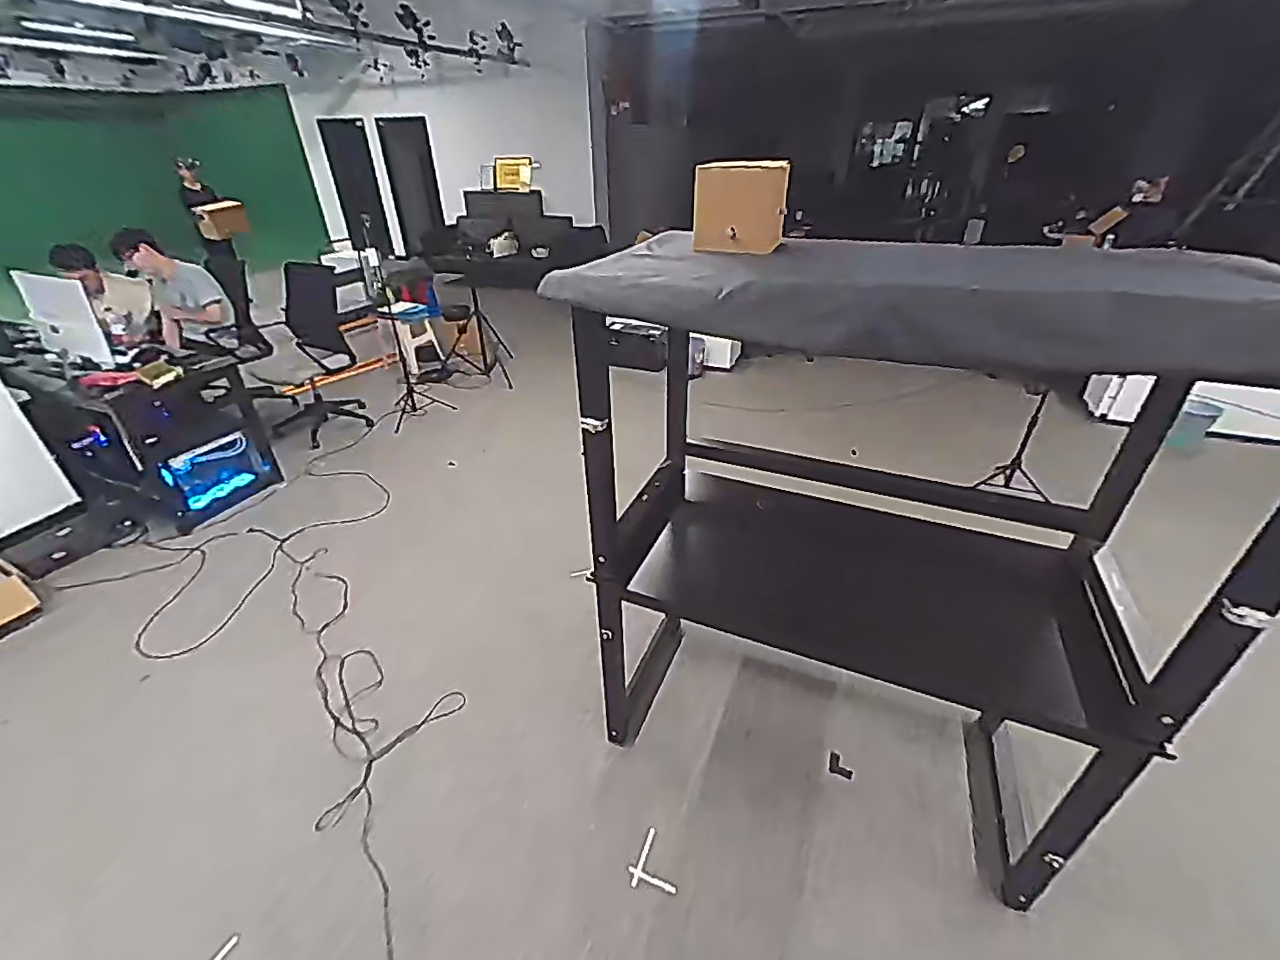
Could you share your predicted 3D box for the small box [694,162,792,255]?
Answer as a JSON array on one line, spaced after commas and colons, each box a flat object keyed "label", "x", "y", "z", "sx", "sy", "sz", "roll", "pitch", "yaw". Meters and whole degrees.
[{"label": "small box", "x": 0.229, "y": -0.609, "z": 1.213, "sx": 0.179, "sy": 0.176, "sz": 0.168, "roll": 12, "pitch": 35, "yaw": 18}]
